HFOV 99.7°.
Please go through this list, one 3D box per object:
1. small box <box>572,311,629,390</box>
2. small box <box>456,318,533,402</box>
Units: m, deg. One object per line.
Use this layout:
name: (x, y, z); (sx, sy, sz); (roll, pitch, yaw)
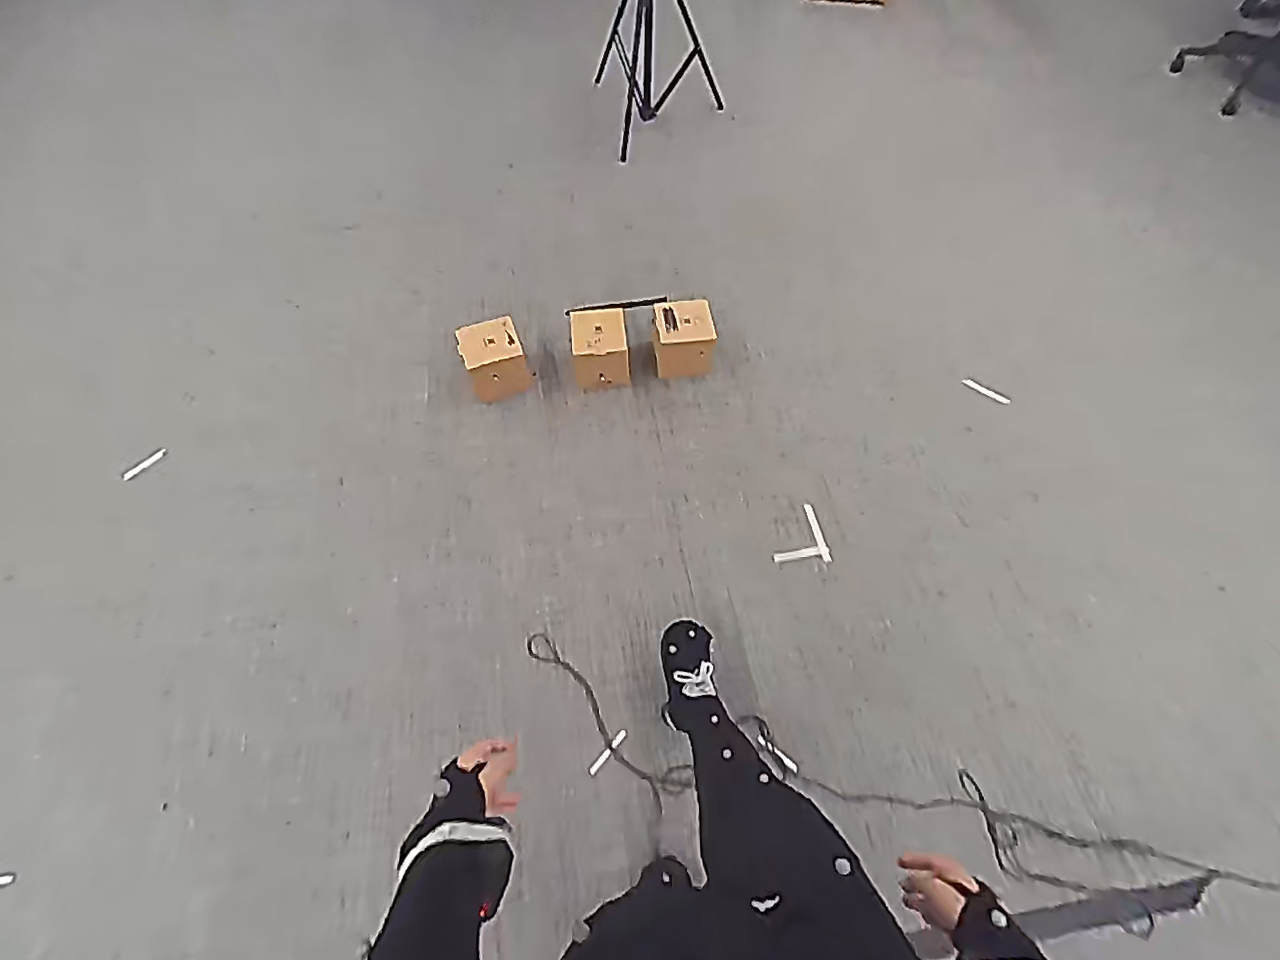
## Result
small box: (-0.125, -0.409, 1.714); (0.168, 0.176, 0.179); (-5, 63, -3)
small box: (-0.451, -0.370, 1.693); (0.179, 0.176, 0.168); (-19, 65, -9)
